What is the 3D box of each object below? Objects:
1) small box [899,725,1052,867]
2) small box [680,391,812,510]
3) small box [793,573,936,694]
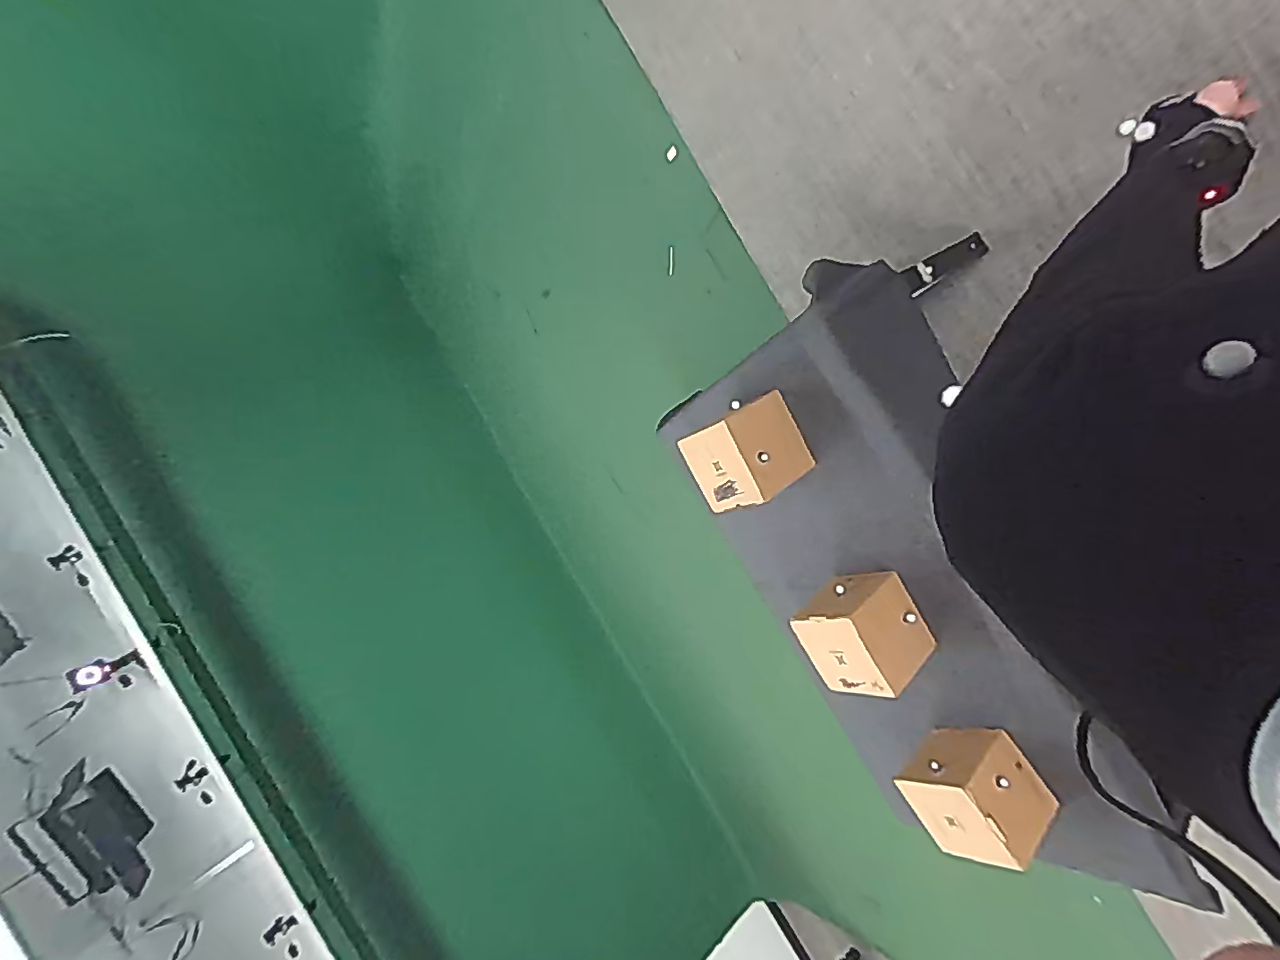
[{"bbox_3d":[0.664,0.606,1.064,0.168,0.176,0.179,56,152,9],"label":"small box"},{"bbox_3d":[0.222,-0.060,1.120,0.168,0.176,0.179,-21,98,59],"label":"small box"},{"bbox_3d":[0.456,0.302,1.100,0.179,0.176,0.168,60,150,0],"label":"small box"}]
